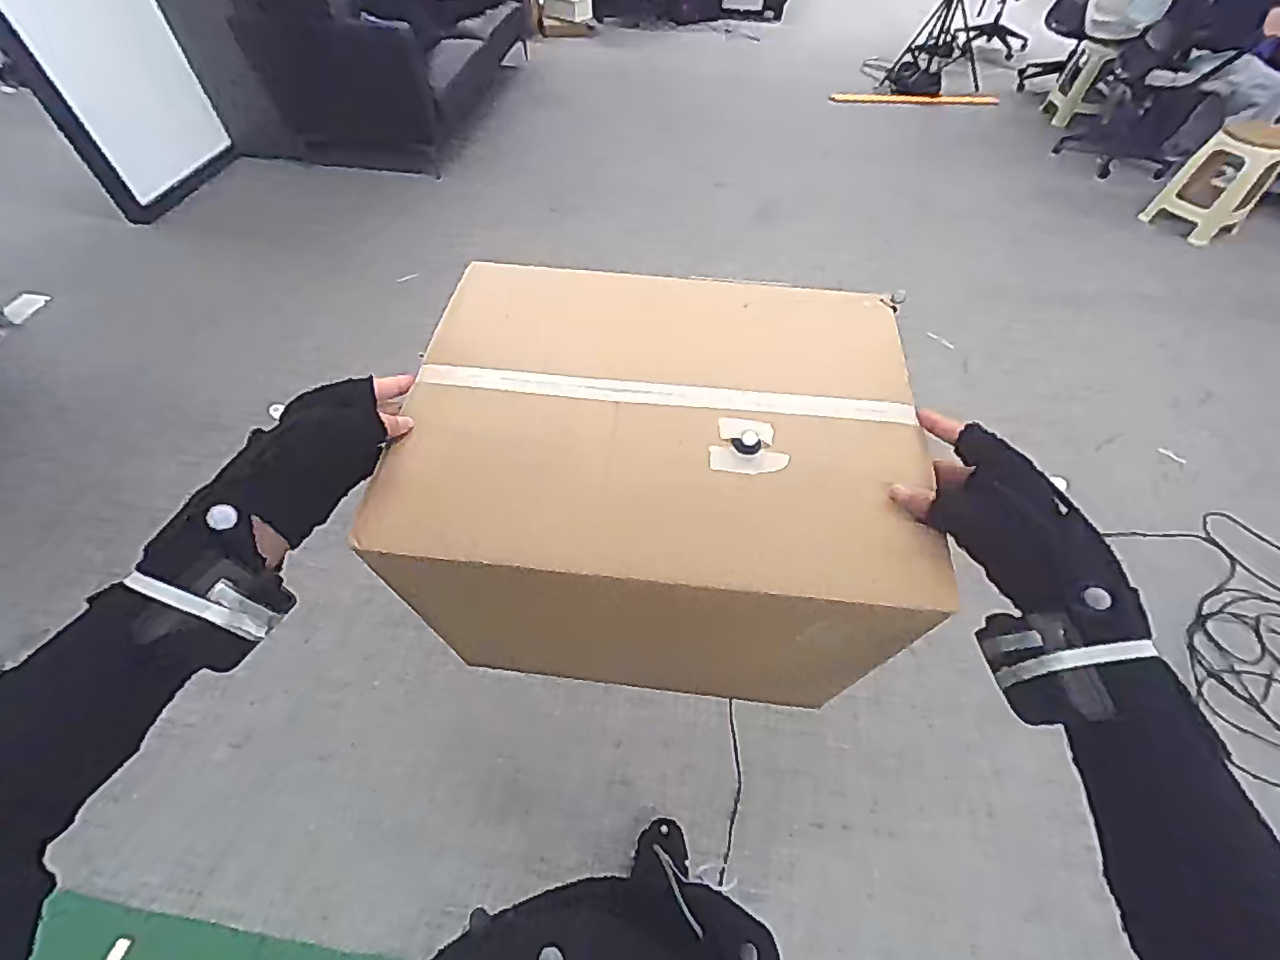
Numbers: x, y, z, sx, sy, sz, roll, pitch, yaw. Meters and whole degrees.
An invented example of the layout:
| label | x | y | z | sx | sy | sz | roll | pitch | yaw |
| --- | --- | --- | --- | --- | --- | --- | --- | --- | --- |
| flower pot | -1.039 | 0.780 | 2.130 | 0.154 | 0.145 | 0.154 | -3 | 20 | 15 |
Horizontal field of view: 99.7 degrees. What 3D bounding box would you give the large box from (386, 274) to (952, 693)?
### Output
| label | x | y | z | sx | sy | sz | roll | pitch | yaw |
| --- | --- | --- | --- | --- | --- | --- | --- | --- | --- |
| large box | 0.025 | 0.018 | 0.577 | 0.408 | 0.320 | 0.320 | 6 | 58 | 2 |
